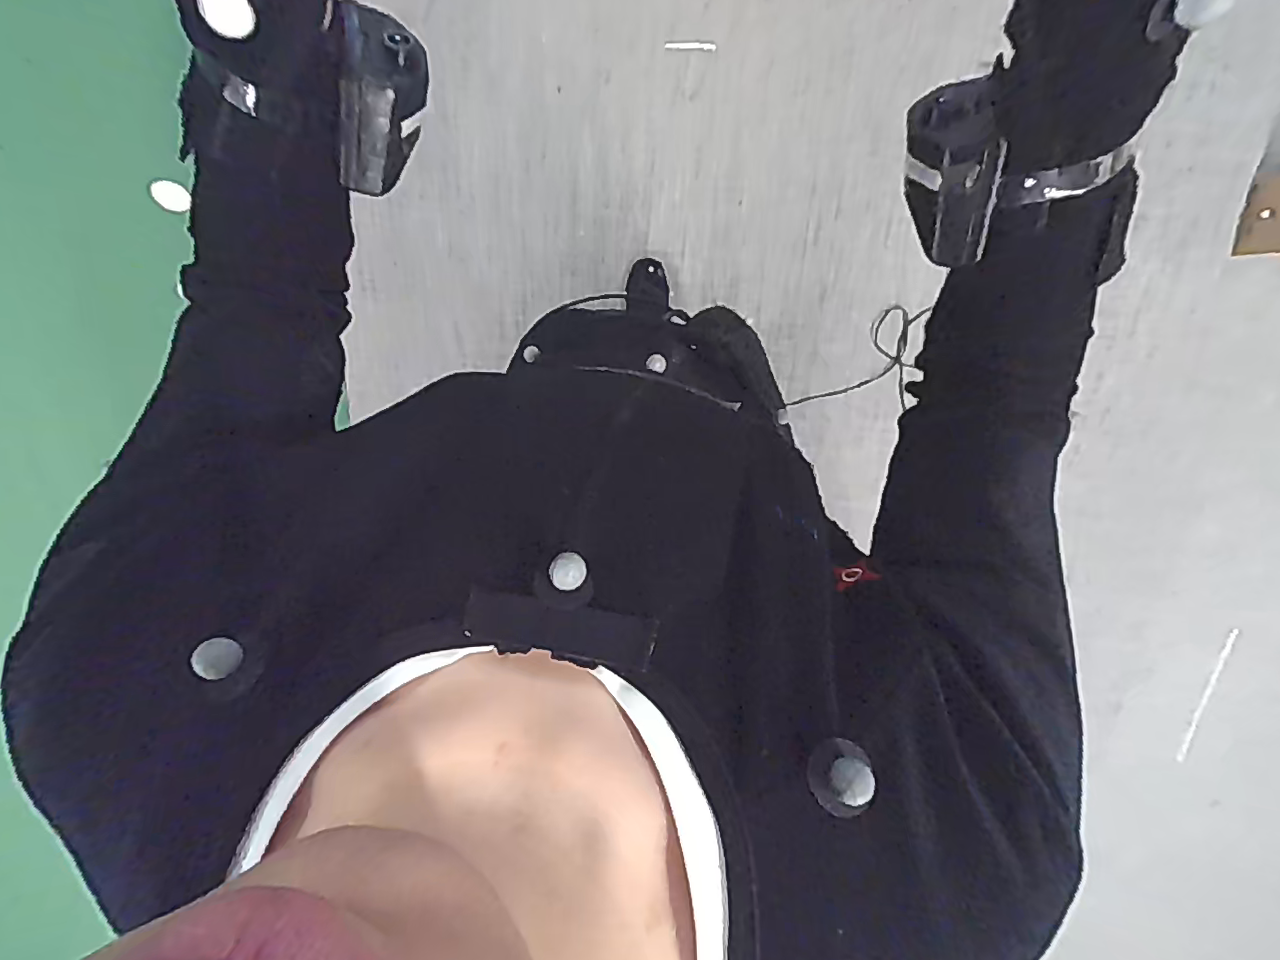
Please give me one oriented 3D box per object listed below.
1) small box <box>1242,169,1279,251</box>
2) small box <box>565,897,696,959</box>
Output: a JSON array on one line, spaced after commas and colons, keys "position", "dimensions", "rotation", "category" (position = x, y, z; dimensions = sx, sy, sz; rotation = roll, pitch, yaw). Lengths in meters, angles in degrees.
[{"position": [1.442, -0.567, 1.116], "dimensions": [0.179, 0.176, 0.168], "rotation": [4, 109, 3], "category": "small box"}, {"position": [-0.019, 0.701, 0.722], "dimensions": [0.179, 0.176, 0.168], "rotation": [7, 110, 1], "category": "small box"}]
